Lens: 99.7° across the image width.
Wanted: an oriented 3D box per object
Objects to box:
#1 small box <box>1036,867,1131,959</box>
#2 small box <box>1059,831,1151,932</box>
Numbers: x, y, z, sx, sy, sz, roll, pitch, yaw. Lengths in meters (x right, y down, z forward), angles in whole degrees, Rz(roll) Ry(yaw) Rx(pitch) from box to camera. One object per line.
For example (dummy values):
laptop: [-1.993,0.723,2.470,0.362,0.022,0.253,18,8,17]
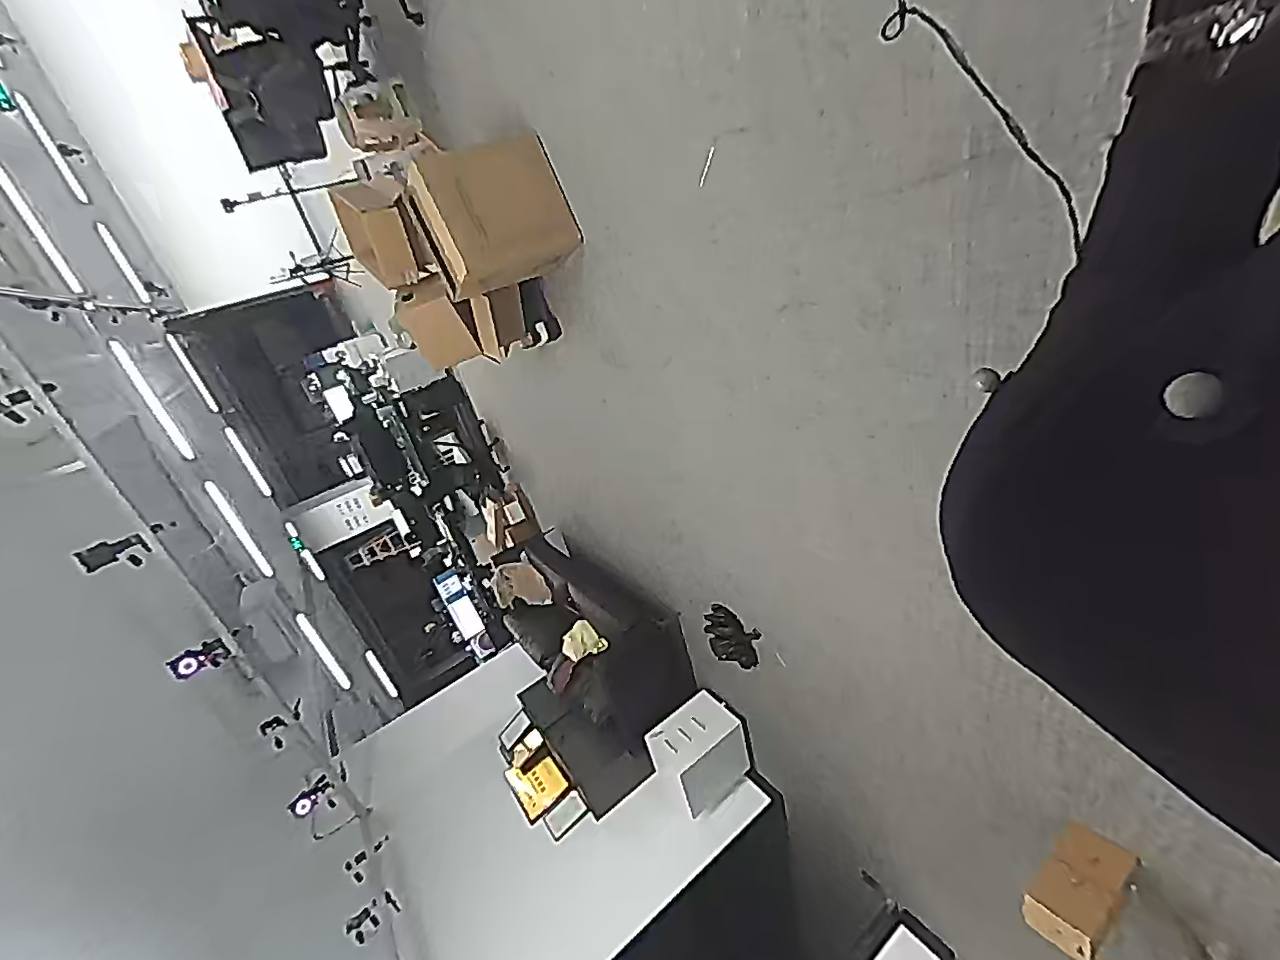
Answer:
small box: [1.361,1.345,1.665,0.179,0.176,0.168,18,132,57]
small box: [1.492,1.277,1.735,0.179,0.176,0.168,11,126,60]
